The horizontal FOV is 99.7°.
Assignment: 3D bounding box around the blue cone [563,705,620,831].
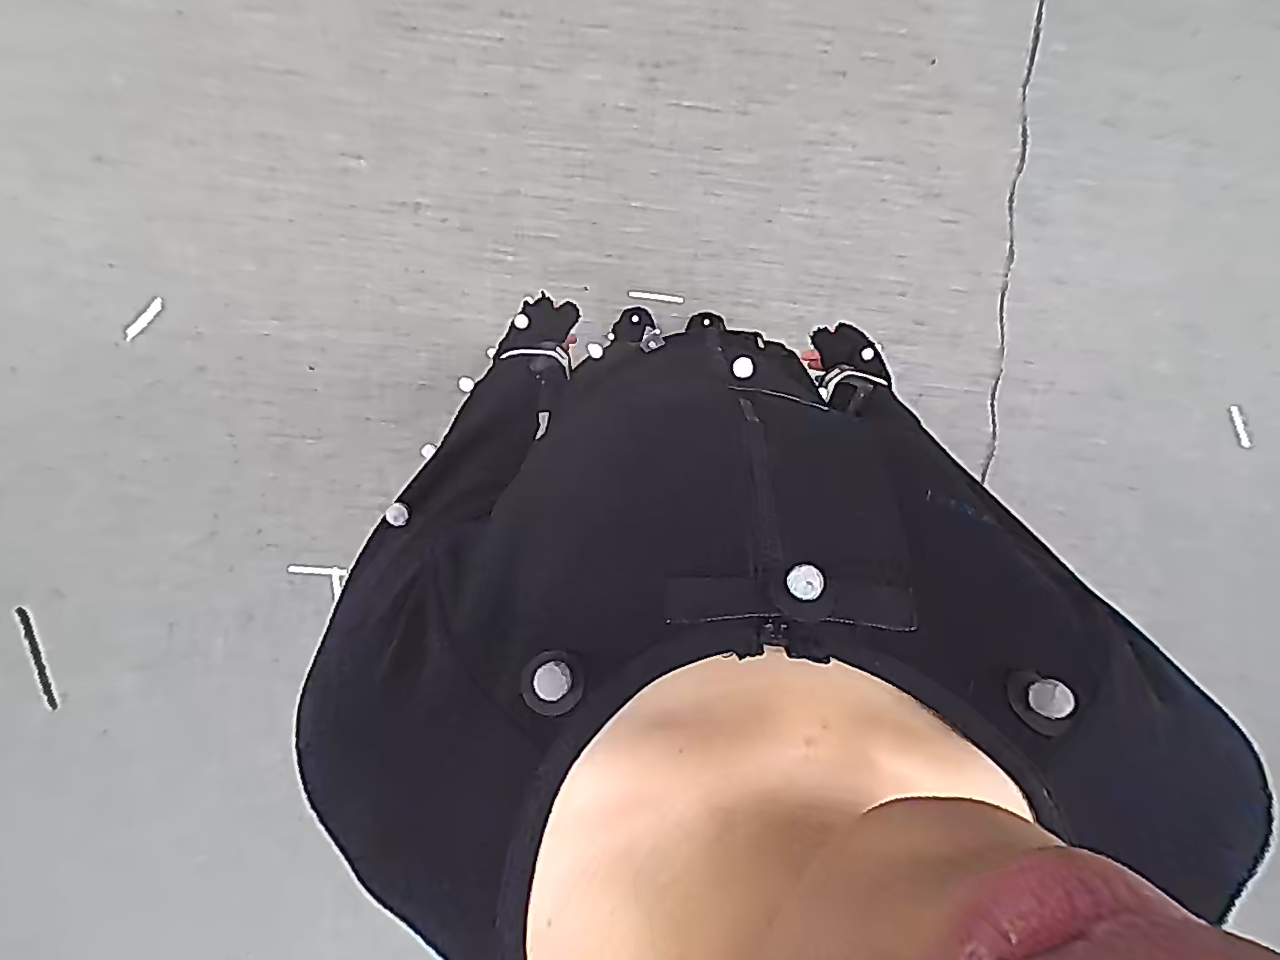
[{"bbox_3d":[-0.164,0.878,1.636,0.192,0.380,0.193,3,108,0],"label":"blue cone"}]
